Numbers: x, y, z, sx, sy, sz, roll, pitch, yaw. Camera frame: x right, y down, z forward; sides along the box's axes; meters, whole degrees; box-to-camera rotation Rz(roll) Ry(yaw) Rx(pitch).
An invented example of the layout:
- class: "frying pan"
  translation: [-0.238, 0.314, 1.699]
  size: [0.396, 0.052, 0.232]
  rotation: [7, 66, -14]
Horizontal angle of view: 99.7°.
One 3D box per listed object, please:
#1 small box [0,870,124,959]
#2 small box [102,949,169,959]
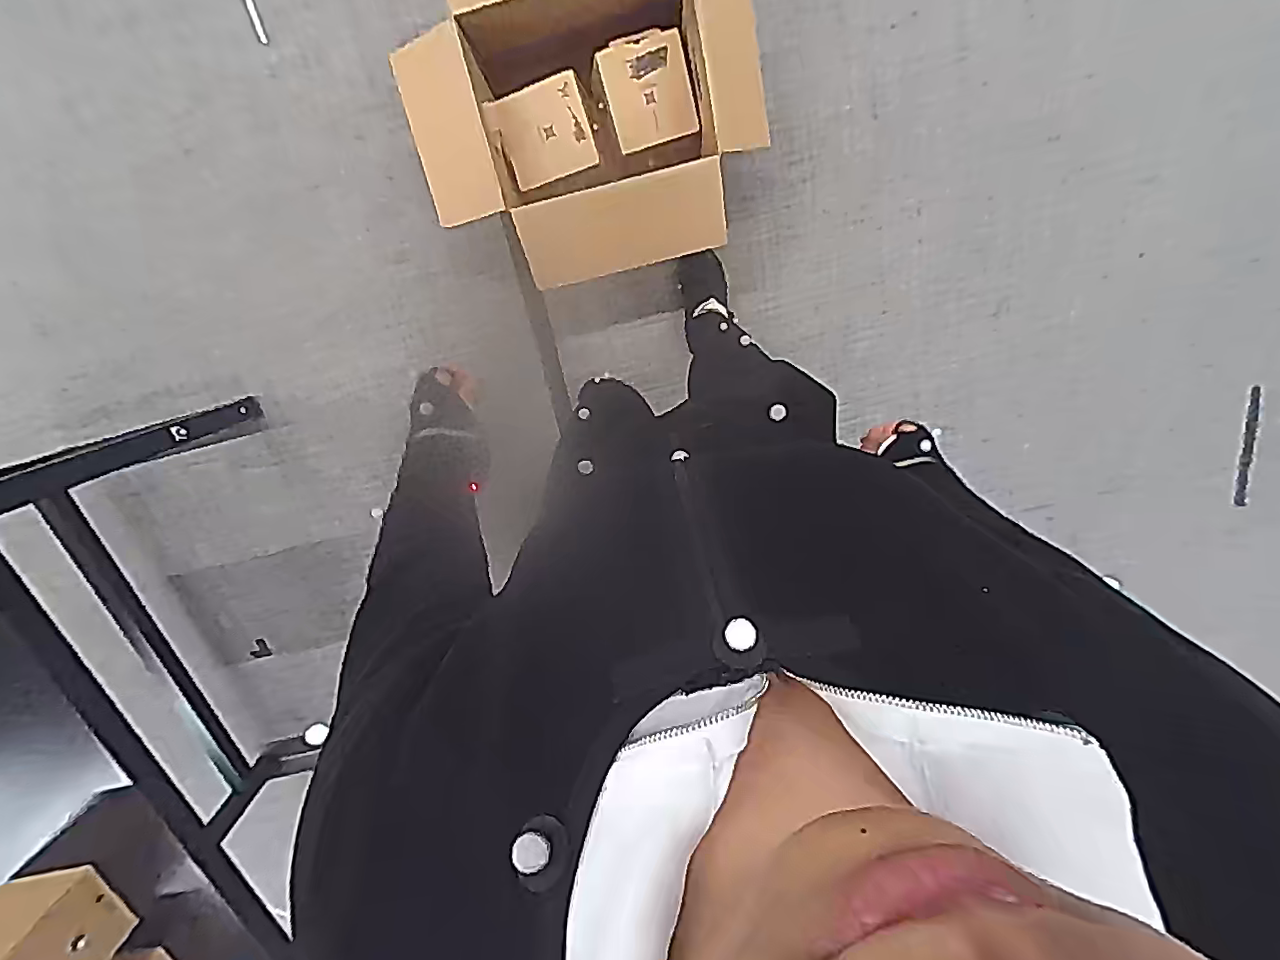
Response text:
- class: "small box"
  translation: [-1.066, 0.818, 0.939]
  size: [0.179, 0.176, 0.168]
  rotation: [-12, 110, 4]
- class: "small box"
  translation: [-1.013, 1.035, 1.024]
  size: [0.179, 0.176, 0.168]
  rotation: [-13, 109, 5]
